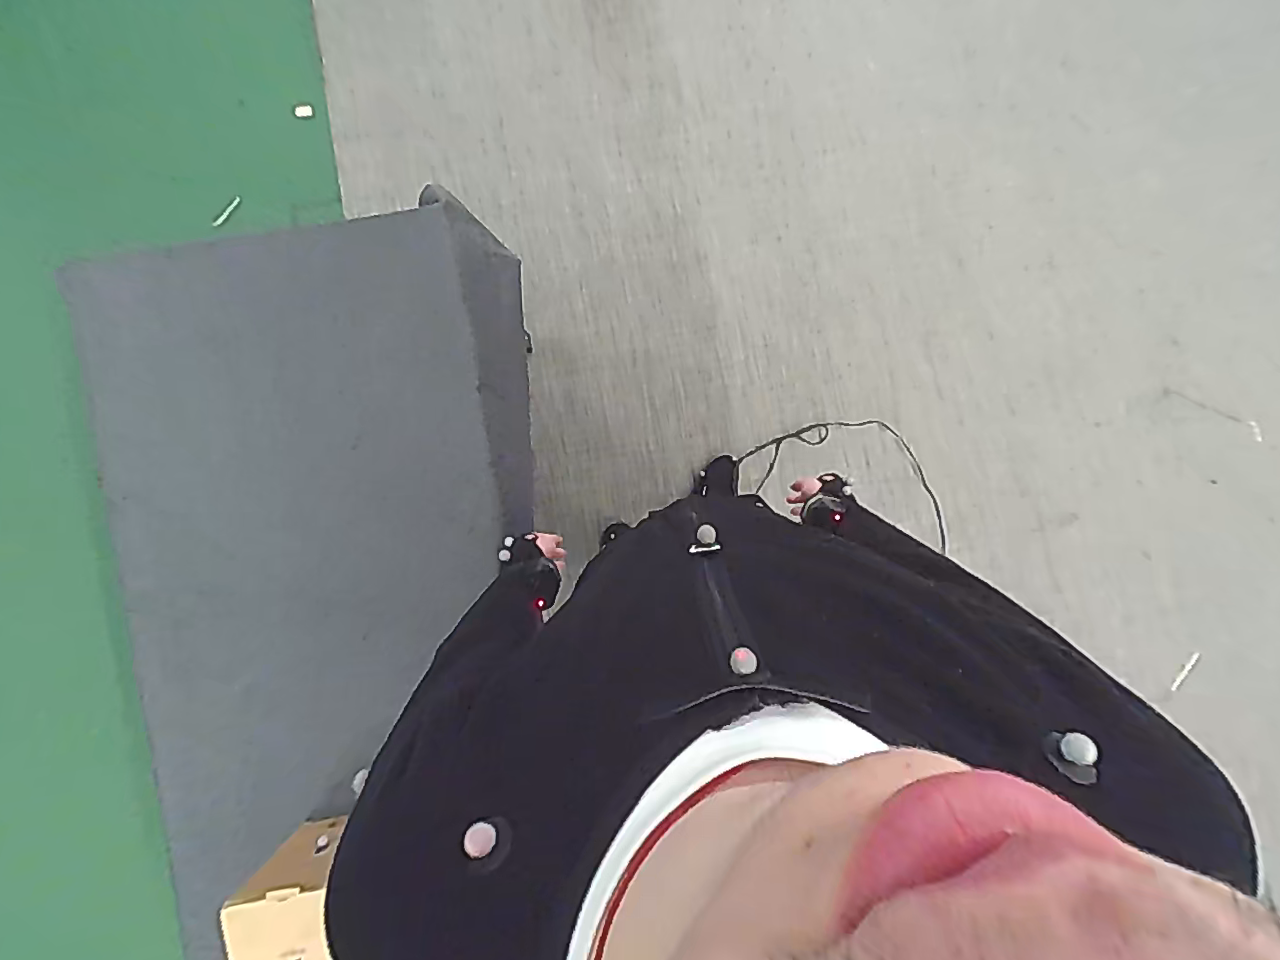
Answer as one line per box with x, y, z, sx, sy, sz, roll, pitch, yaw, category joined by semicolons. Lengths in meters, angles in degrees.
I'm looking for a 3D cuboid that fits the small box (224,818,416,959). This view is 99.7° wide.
-0.445;0.619;0.778;0.168;0.176;0.179;-10;89;1;small box
